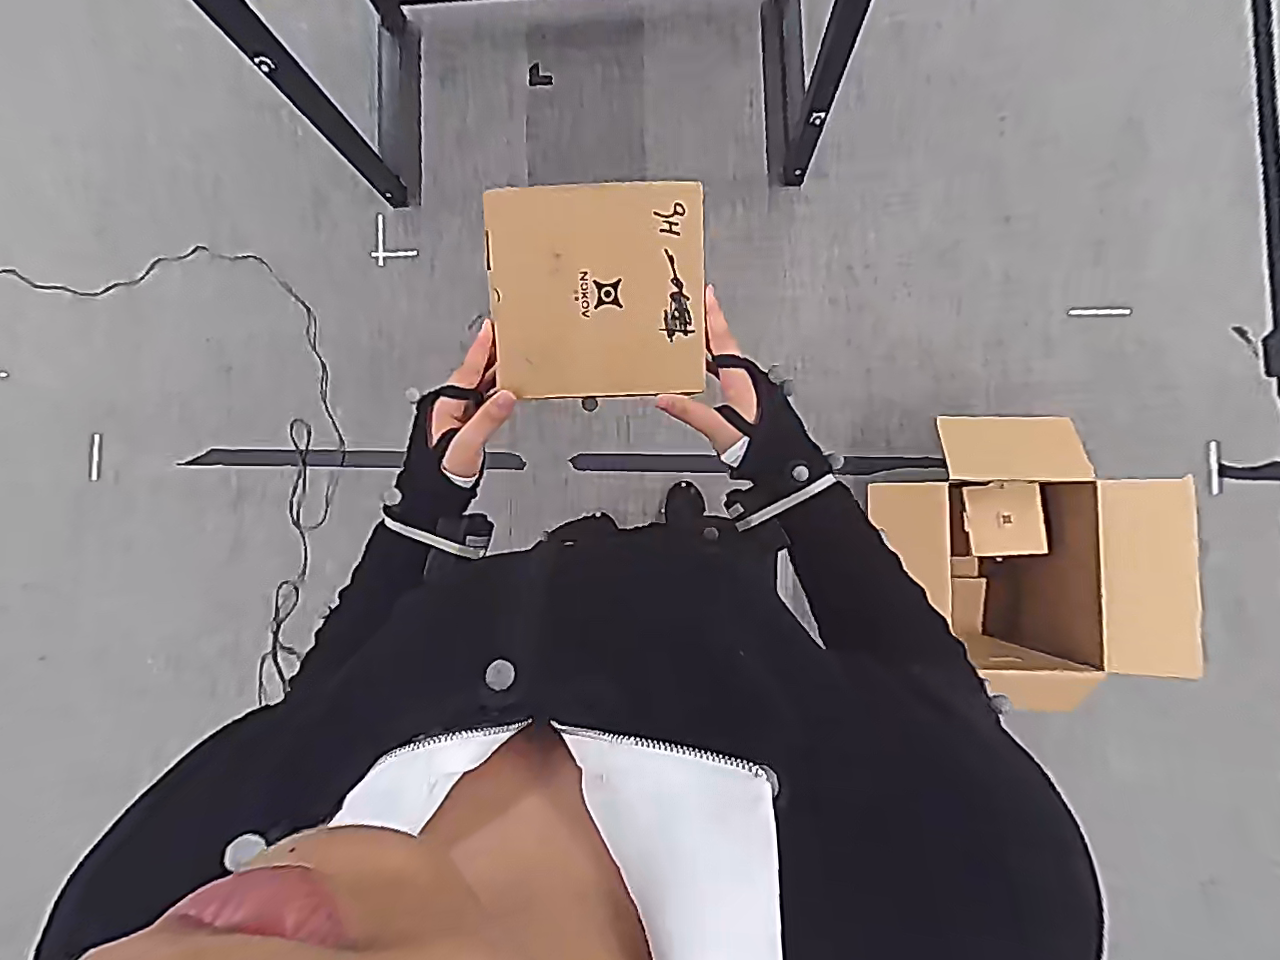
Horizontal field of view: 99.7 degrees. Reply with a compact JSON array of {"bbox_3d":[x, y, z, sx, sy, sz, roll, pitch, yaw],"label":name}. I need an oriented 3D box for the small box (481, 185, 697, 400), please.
[{"bbox_3d":[-0.039,-0.163,0.523,0.179,0.176,0.168,-2,98,1],"label":"small box"}]
